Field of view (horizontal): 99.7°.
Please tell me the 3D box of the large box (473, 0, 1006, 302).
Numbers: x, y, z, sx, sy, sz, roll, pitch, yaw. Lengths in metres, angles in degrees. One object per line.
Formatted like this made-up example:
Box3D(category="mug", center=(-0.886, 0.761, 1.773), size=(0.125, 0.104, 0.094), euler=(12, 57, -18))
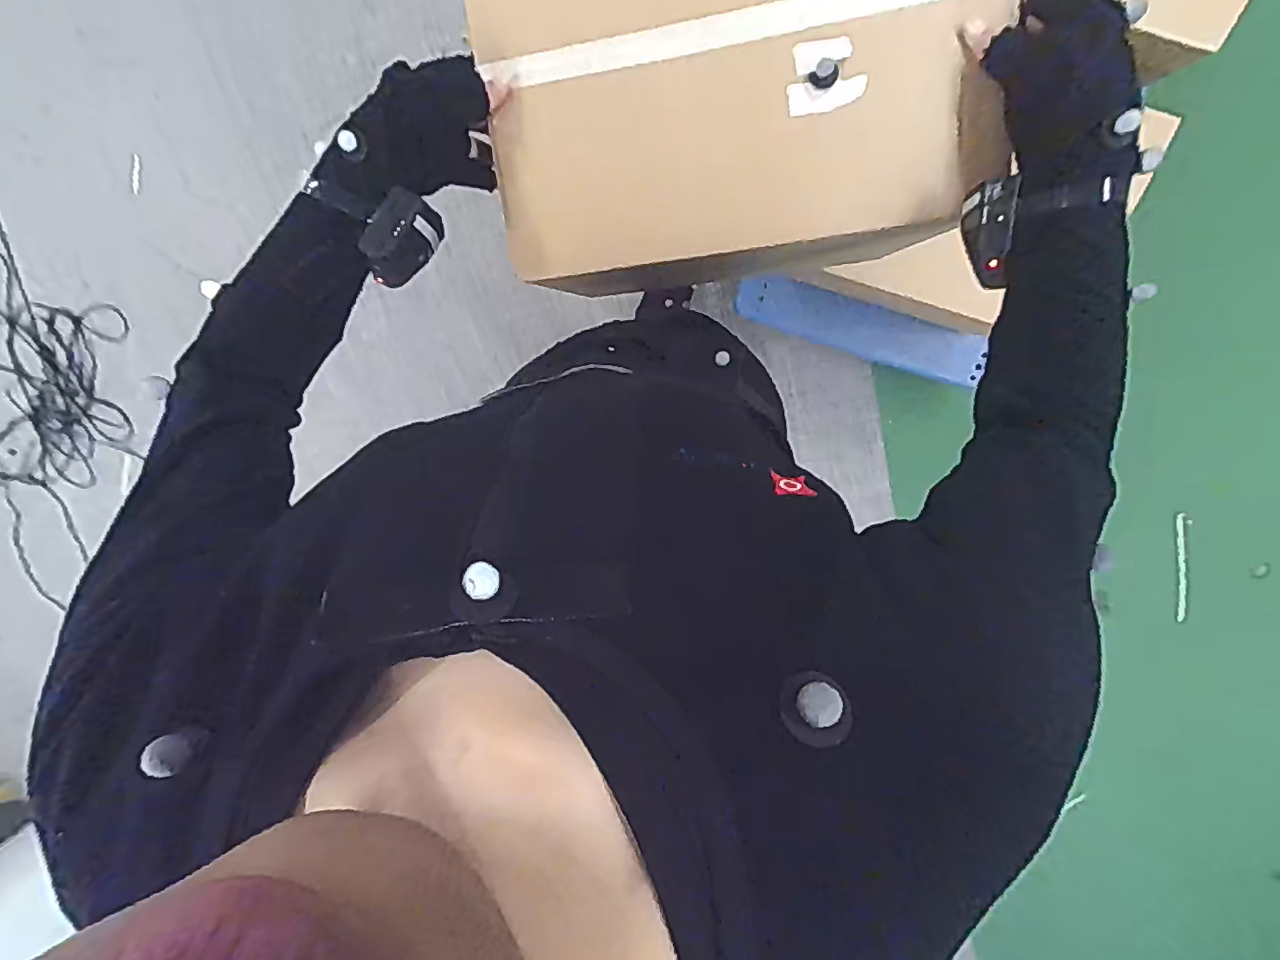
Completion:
Box3D(category="large box", center=(0.082, -0.383, 0.558), size=(0.408, 0.320, 0.320), euler=(-6, 104, 7))
